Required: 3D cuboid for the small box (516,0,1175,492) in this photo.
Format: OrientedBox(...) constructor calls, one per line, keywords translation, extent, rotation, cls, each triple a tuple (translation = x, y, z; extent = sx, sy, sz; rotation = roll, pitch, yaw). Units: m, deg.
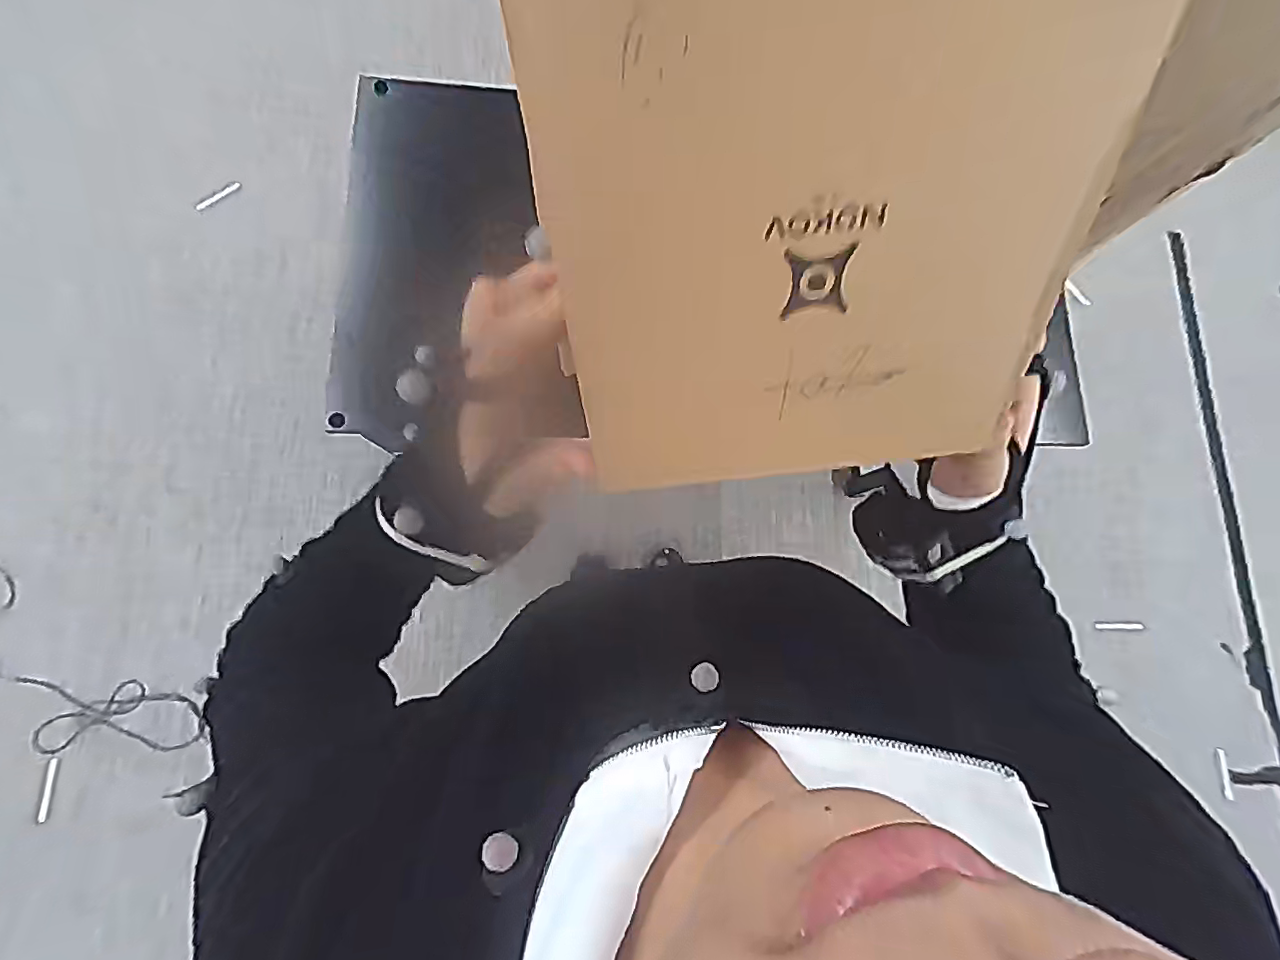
OrientedBox(translation=(0.052, -0.120, 0.236), extent=(0.168, 0.179, 0.176), rotation=(-6, 43, 2), cls="small box")
